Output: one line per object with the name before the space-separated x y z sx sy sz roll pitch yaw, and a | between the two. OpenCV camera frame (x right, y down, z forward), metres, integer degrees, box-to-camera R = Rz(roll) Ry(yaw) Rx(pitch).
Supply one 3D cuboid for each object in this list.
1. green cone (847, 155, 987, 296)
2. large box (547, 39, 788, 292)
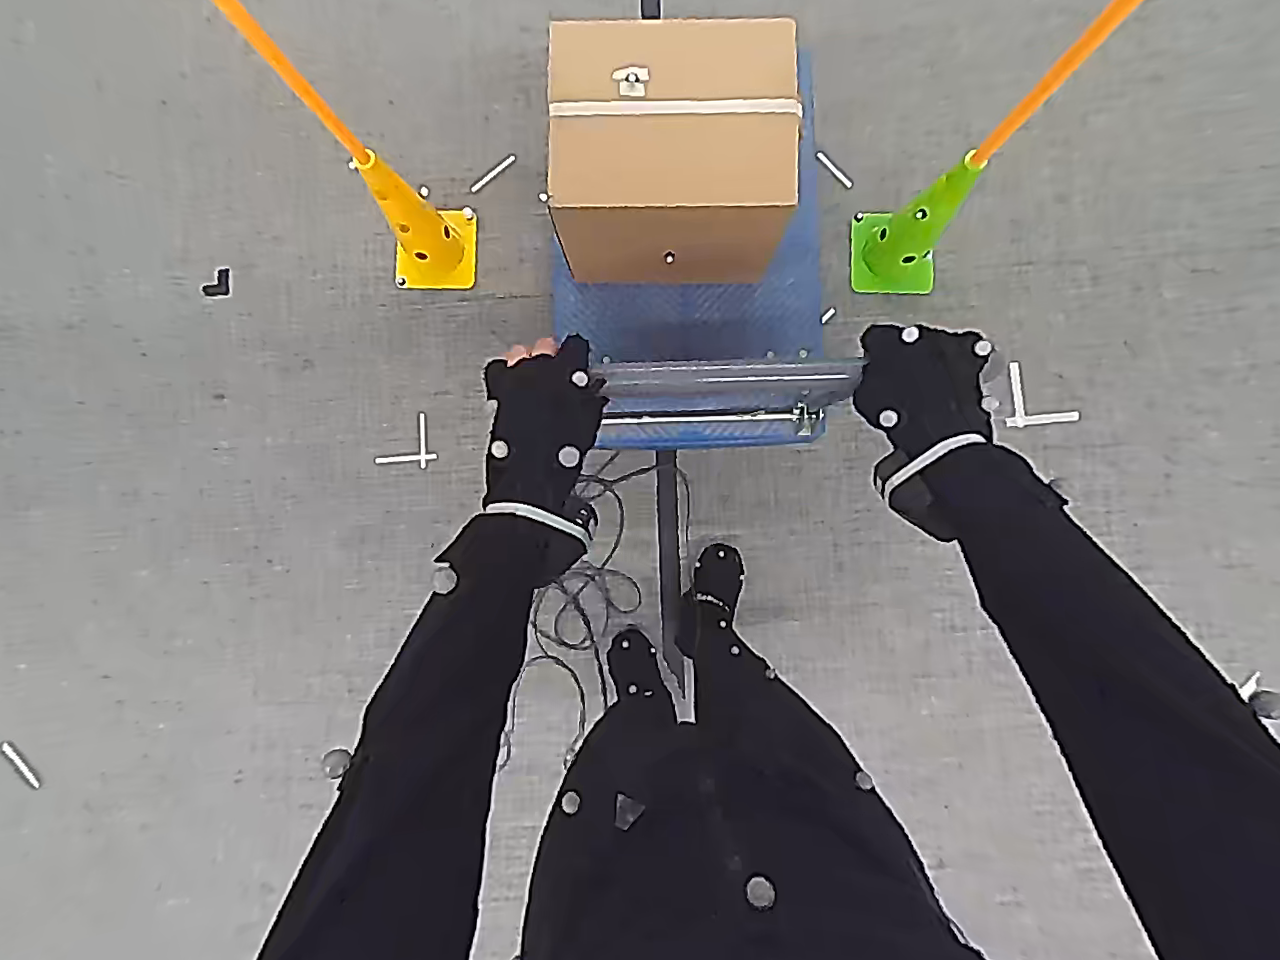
green cone | 0.615 -0.566 1.172 0.202 0.368 0.200 1 87 0
large box | 0.051 -0.570 1.043 0.408 0.320 0.320 0 87 2
